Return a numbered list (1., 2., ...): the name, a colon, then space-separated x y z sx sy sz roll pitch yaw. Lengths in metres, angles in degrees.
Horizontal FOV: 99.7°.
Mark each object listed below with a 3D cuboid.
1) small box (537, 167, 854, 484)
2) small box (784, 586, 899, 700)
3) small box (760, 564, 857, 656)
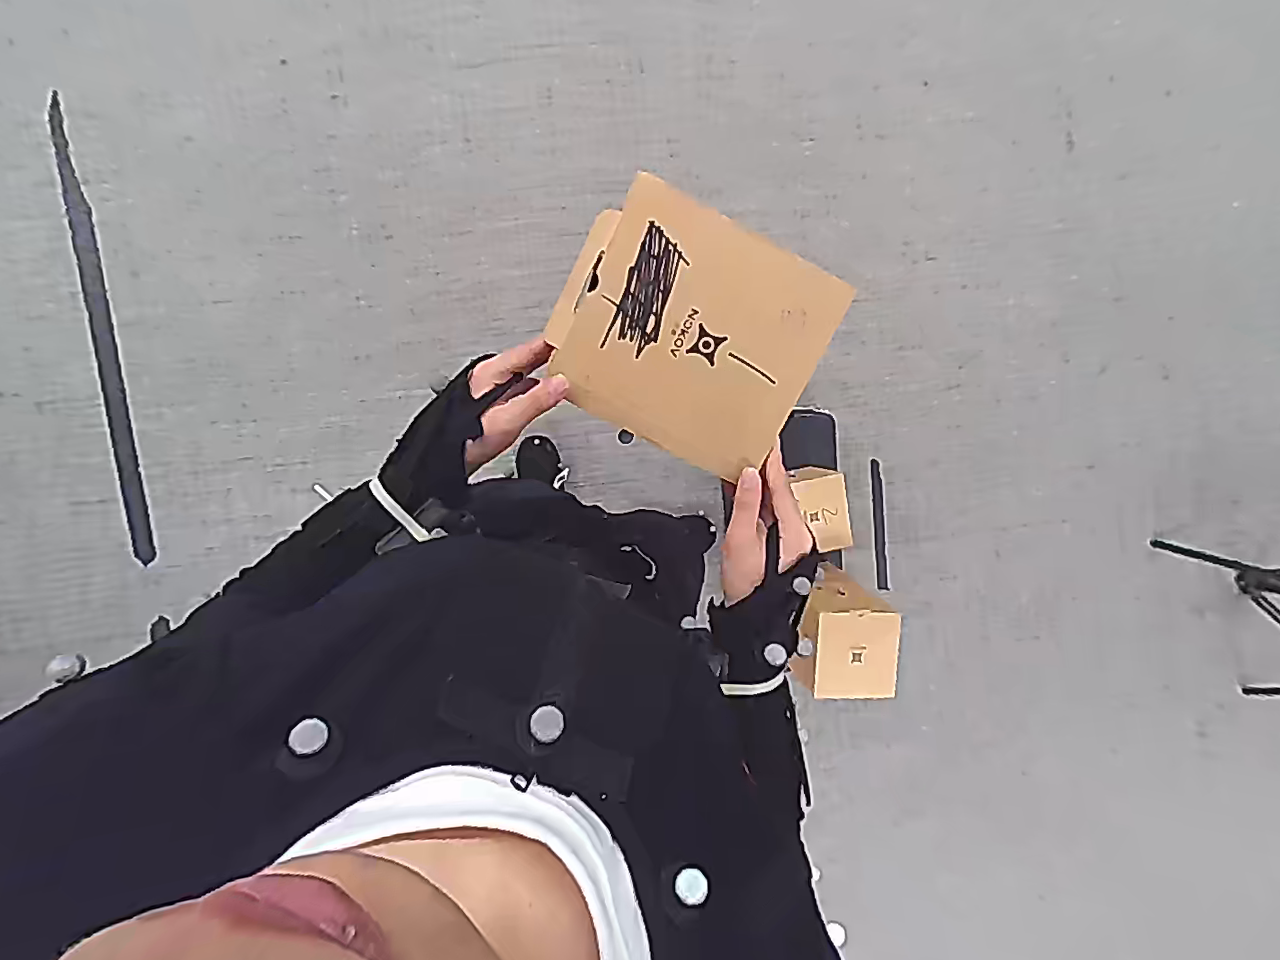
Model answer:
1. small box: 0.036 -0.117 0.460 0.179 0.176 0.168 26 99 -6
2. small box: 0.404 0.329 1.113 0.168 0.176 0.179 1 95 -5
3. small box: 0.388 0.300 1.273 0.179 0.176 0.168 -2 97 -6
